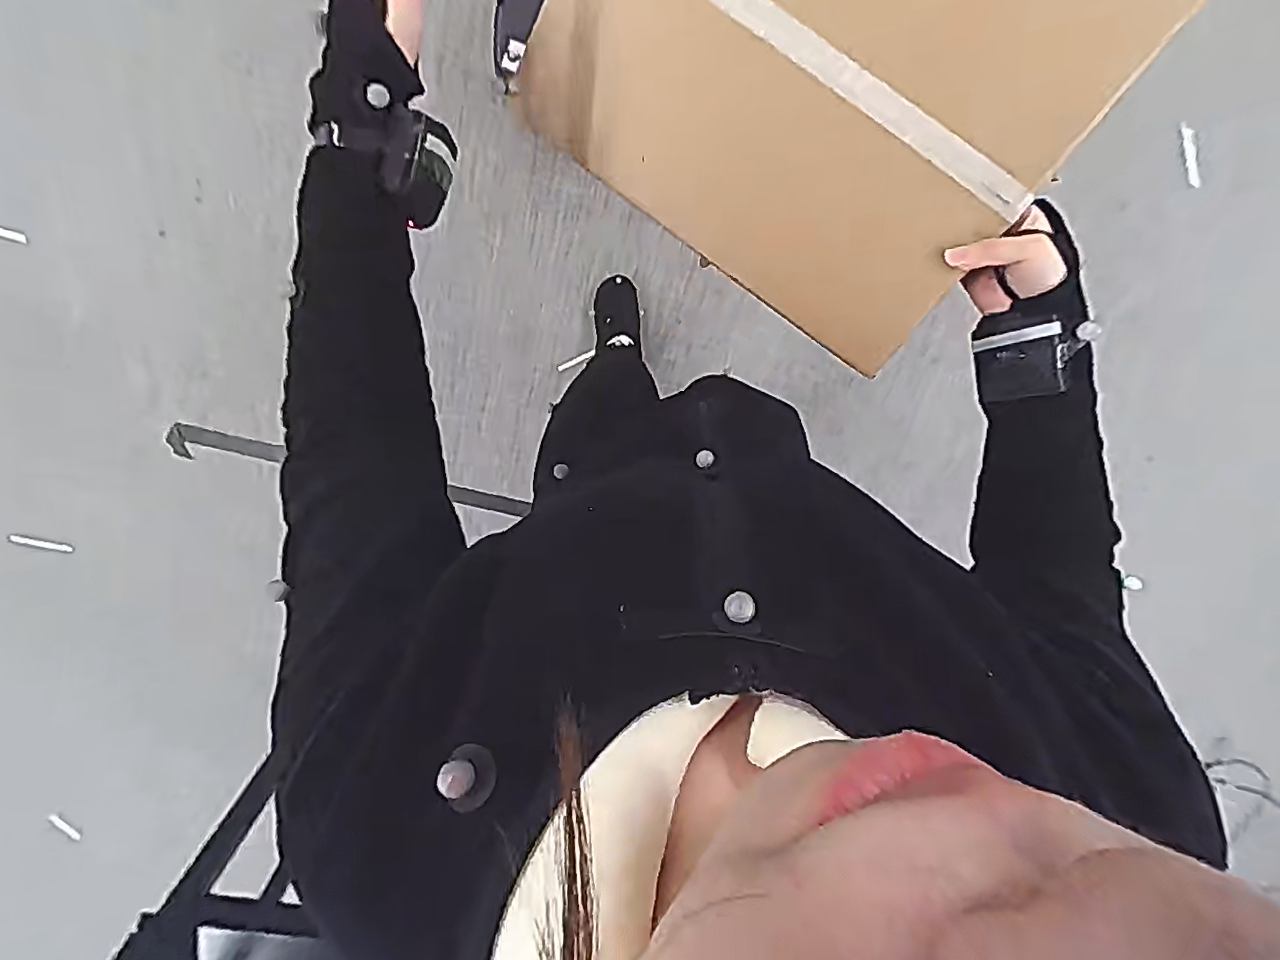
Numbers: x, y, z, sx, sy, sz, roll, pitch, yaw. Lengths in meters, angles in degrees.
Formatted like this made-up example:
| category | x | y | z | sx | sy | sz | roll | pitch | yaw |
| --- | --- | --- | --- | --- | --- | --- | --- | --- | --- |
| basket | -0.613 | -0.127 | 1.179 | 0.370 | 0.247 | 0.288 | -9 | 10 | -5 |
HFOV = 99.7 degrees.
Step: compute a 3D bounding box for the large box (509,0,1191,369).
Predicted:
| category | x | y | z | sx | sy | sz | roll | pitch | yaw |
| --- | --- | --- | --- | --- | --- | --- | --- | --- | --- |
| large box | 0.162 | -0.367 | 0.543 | 0.408 | 0.320 | 0.320 | 37 | 114 | 1 |
